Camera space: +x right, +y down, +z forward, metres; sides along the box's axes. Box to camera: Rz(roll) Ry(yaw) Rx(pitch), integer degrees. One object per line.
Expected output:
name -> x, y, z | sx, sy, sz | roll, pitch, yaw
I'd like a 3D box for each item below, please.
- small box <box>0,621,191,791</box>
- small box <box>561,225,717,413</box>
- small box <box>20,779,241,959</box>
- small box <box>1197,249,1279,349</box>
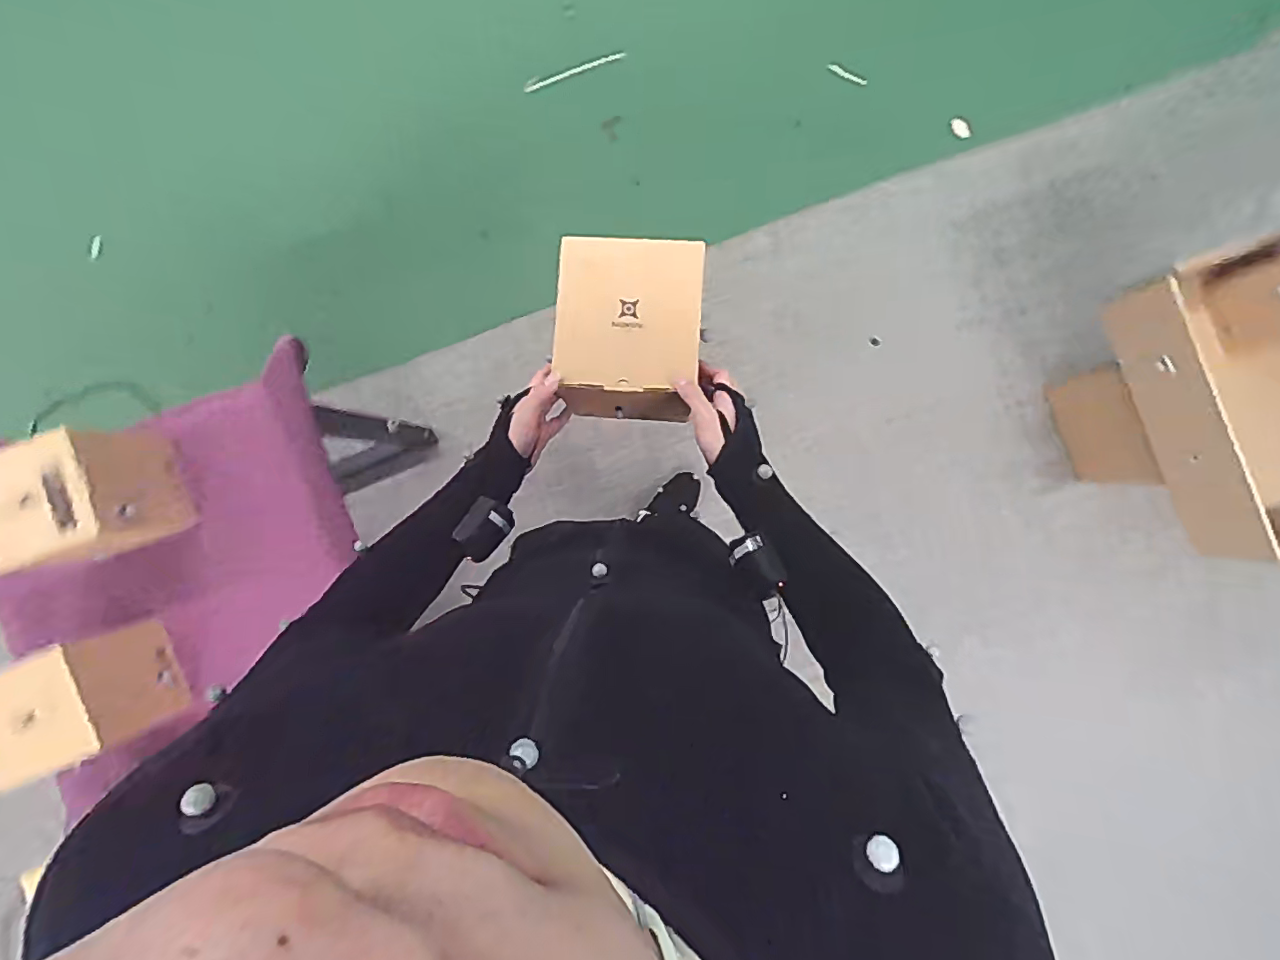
small box -> -0.883, 0.347, 0.858 | 0.179, 0.176, 0.168 | -23, 90, 1
small box -> 0.001, -0.190, 0.682 | 0.168, 0.176, 0.179 | 4, 87, 2
small box -> -0.780, 0.613, 0.854 | 0.179, 0.176, 0.168 | -22, 89, 2
small box -> 1.311, -0.385, 1.093 | 0.179, 0.176, 0.168 | -19, 89, 2
